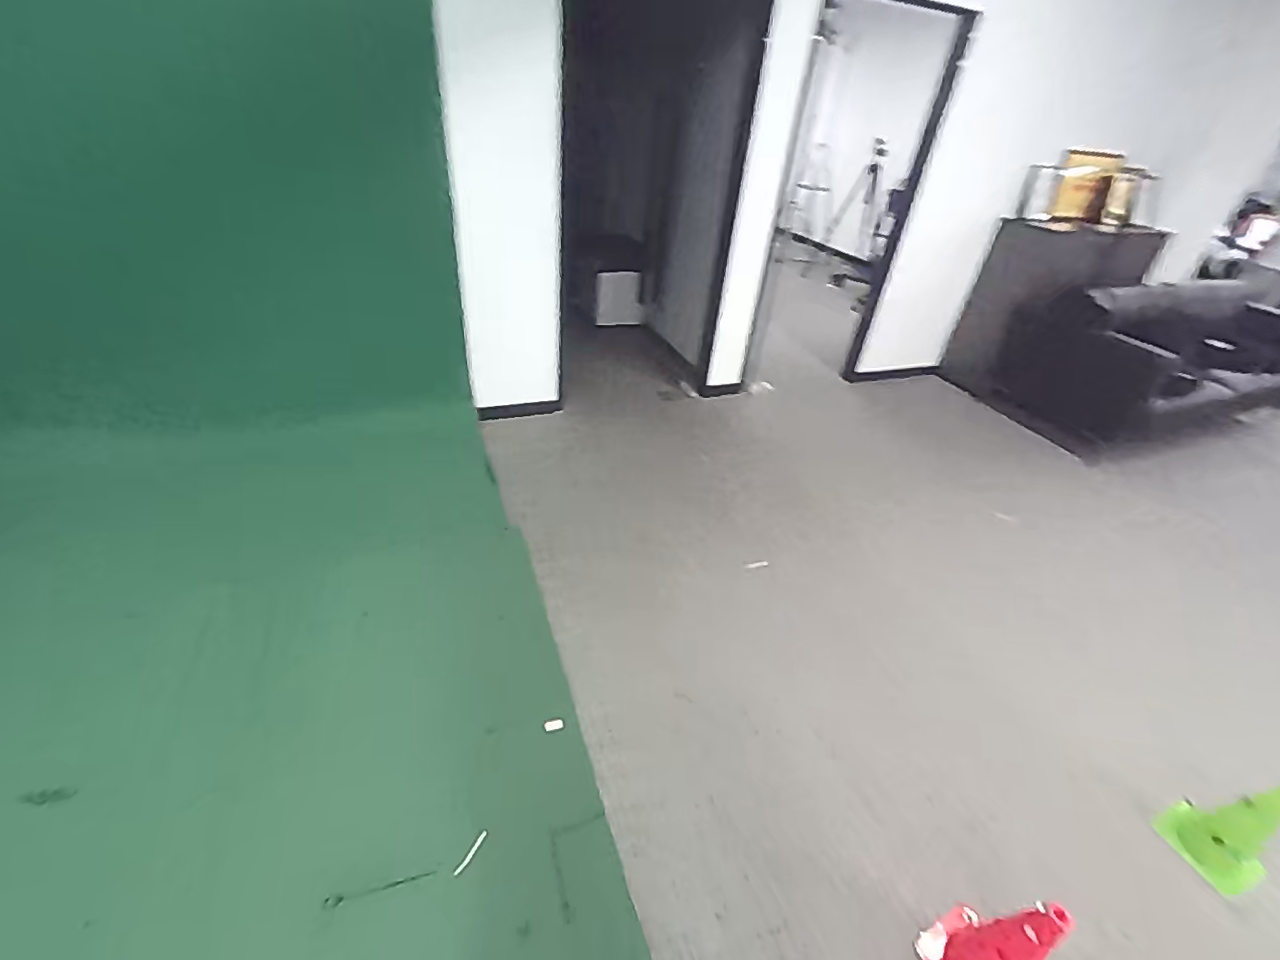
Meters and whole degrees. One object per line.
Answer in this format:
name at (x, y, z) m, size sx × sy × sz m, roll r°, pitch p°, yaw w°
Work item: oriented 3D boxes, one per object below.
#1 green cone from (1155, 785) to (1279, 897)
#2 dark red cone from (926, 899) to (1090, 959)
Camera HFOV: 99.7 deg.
green cone at (1.569, 0.853, 1.371) m, size 0.200 × 0.368 × 0.202 m, roll -10°, pitch 39°, yaw -21°
dark red cone at (0.774, 0.937, 1.090) m, size 0.201 × 0.394 × 0.202 m, roll -14°, pitch 40°, yaw -24°
